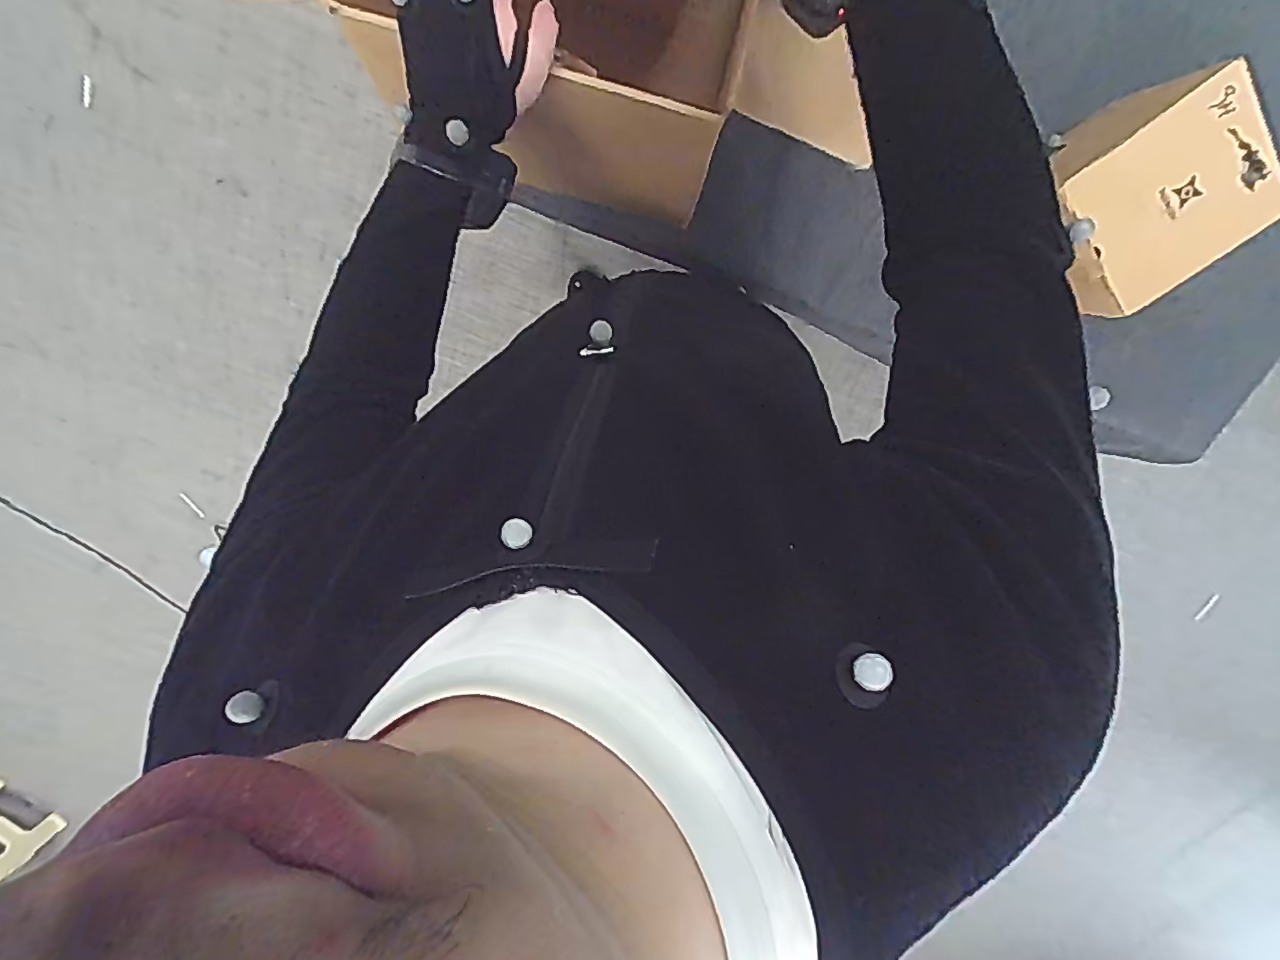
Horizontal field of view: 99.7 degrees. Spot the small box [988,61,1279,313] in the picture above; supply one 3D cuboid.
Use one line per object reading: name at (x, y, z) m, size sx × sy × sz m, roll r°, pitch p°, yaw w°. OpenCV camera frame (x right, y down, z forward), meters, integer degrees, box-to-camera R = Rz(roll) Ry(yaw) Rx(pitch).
small box at (0.545, -0.317, 0.624) m, size 0.179 × 0.176 × 0.168 m, roll -35°, pitch 107°, yaw 15°
